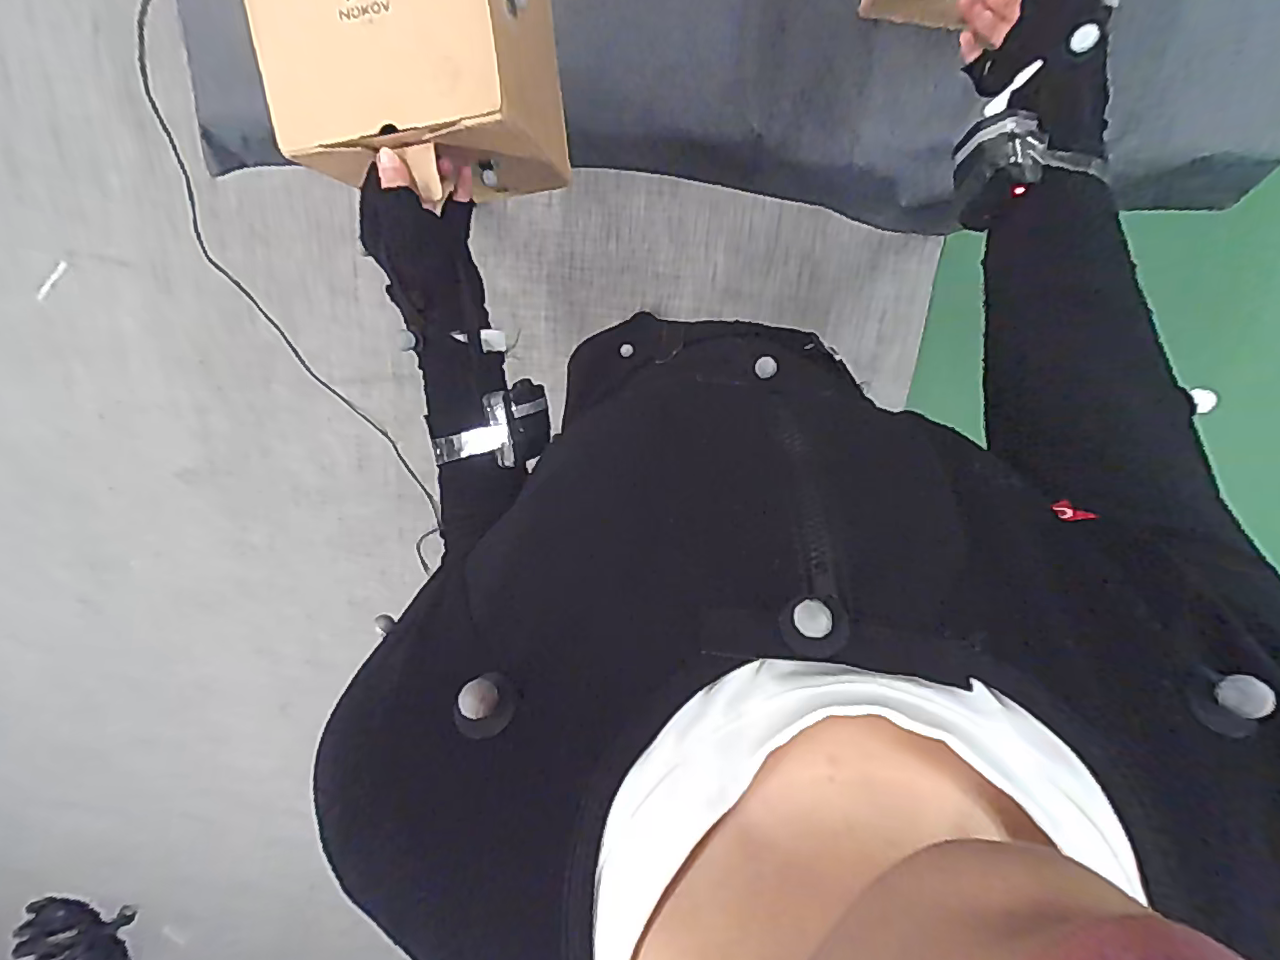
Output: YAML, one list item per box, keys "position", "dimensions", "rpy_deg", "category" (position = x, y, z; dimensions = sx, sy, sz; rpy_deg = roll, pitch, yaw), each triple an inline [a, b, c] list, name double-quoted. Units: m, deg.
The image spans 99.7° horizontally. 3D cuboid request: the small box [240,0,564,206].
- position: [-0.164, -0.326, 0.414]
  dimensions: [0.168, 0.176, 0.179]
  rpy_deg: [-5, 102, 8]
  category: "small box"
